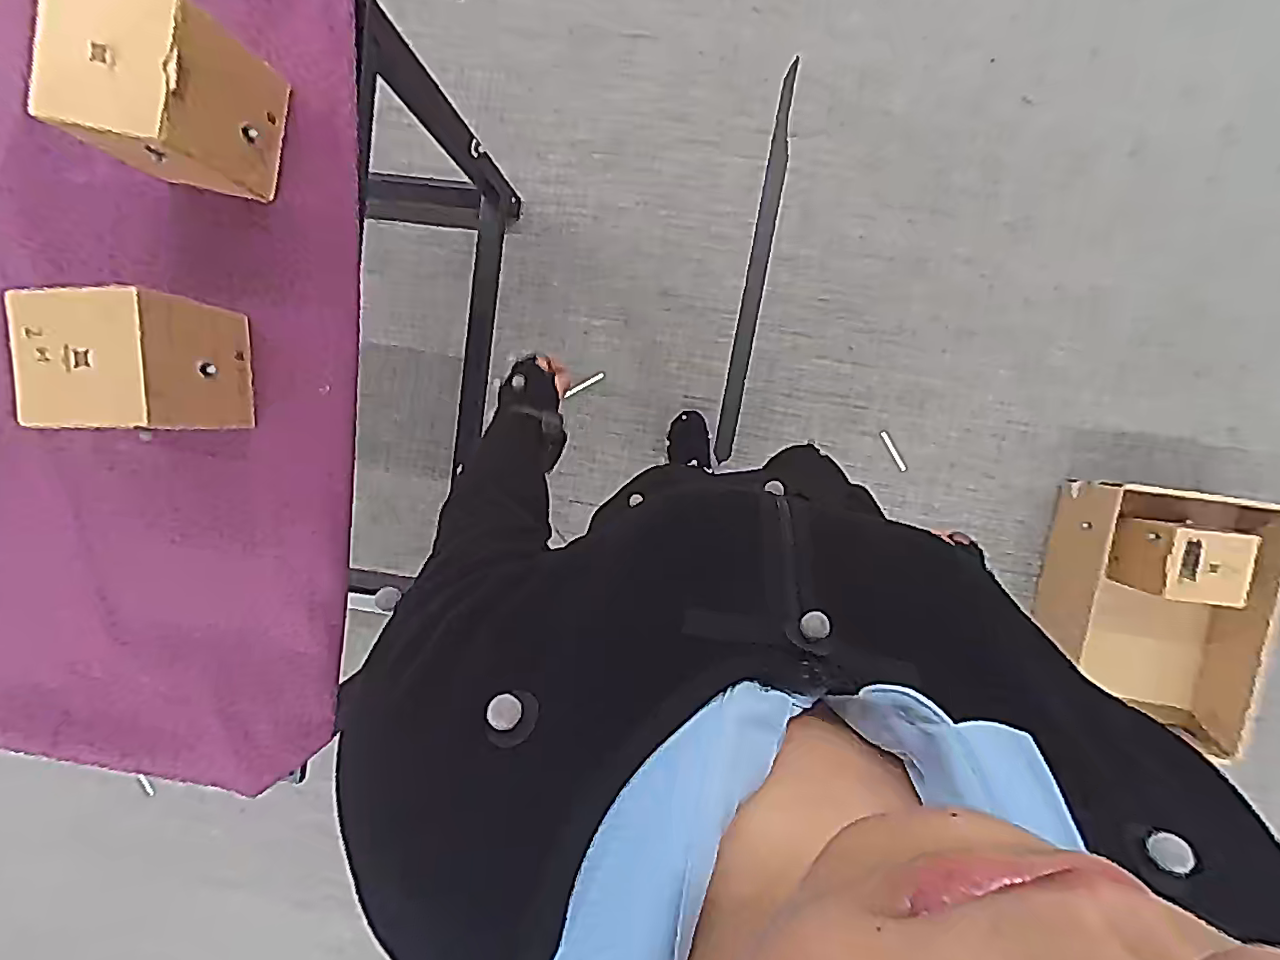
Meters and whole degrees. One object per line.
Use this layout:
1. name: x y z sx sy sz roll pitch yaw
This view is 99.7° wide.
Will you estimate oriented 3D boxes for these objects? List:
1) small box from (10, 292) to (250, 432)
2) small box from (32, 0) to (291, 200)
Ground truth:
1. small box: -0.664 -0.150 0.729 0.179 0.176 0.168 0 94 5
2. small box: -0.599 -0.487 0.695 0.179 0.176 0.168 13 96 5
